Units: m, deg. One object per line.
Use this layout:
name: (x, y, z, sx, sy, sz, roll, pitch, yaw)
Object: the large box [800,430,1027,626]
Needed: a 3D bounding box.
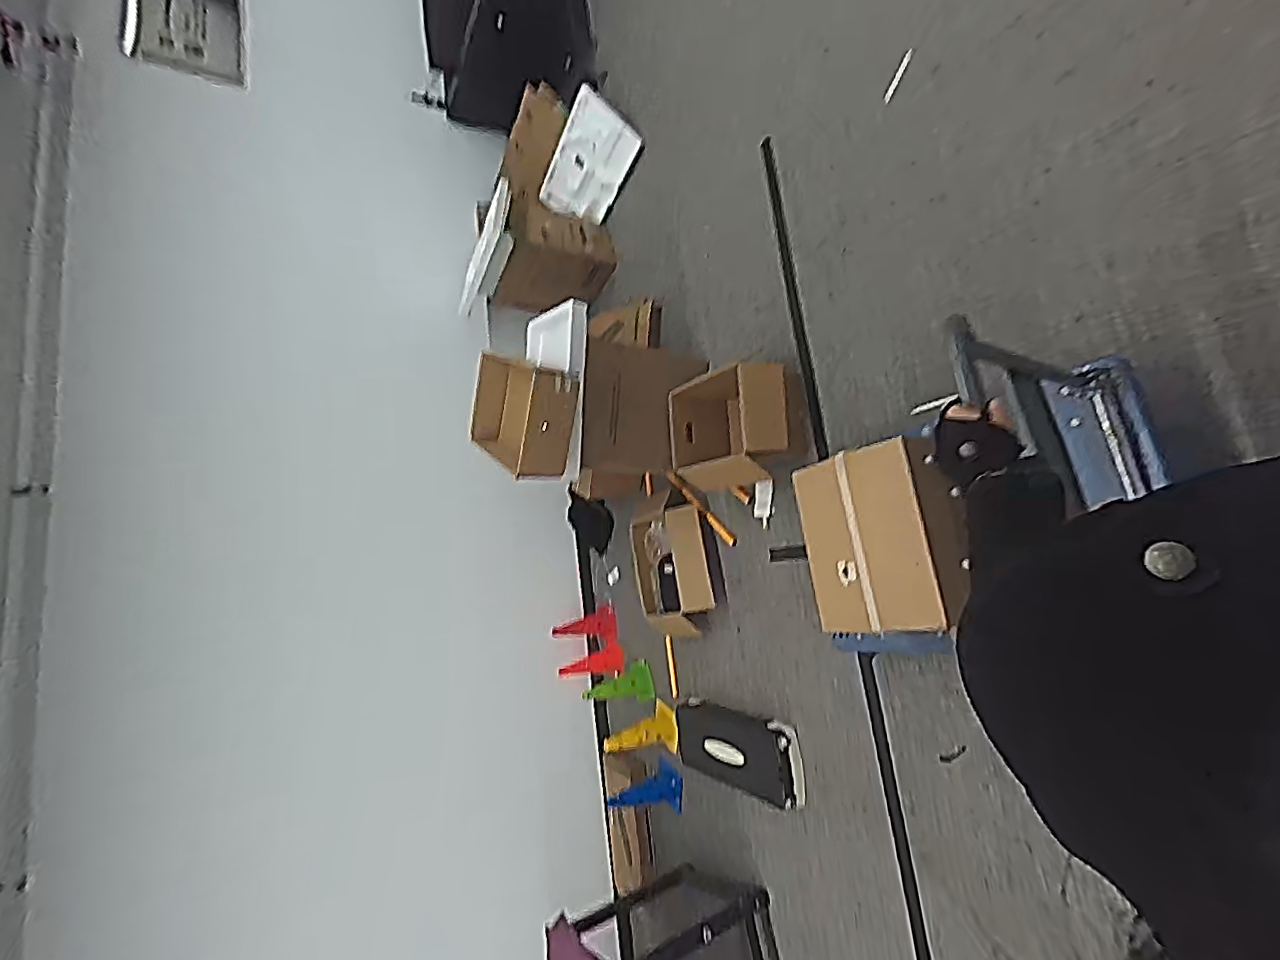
large box: (0.644, 0.118, 1.301, 0.320, 0.320, 0.408, -27, 69, 56)
